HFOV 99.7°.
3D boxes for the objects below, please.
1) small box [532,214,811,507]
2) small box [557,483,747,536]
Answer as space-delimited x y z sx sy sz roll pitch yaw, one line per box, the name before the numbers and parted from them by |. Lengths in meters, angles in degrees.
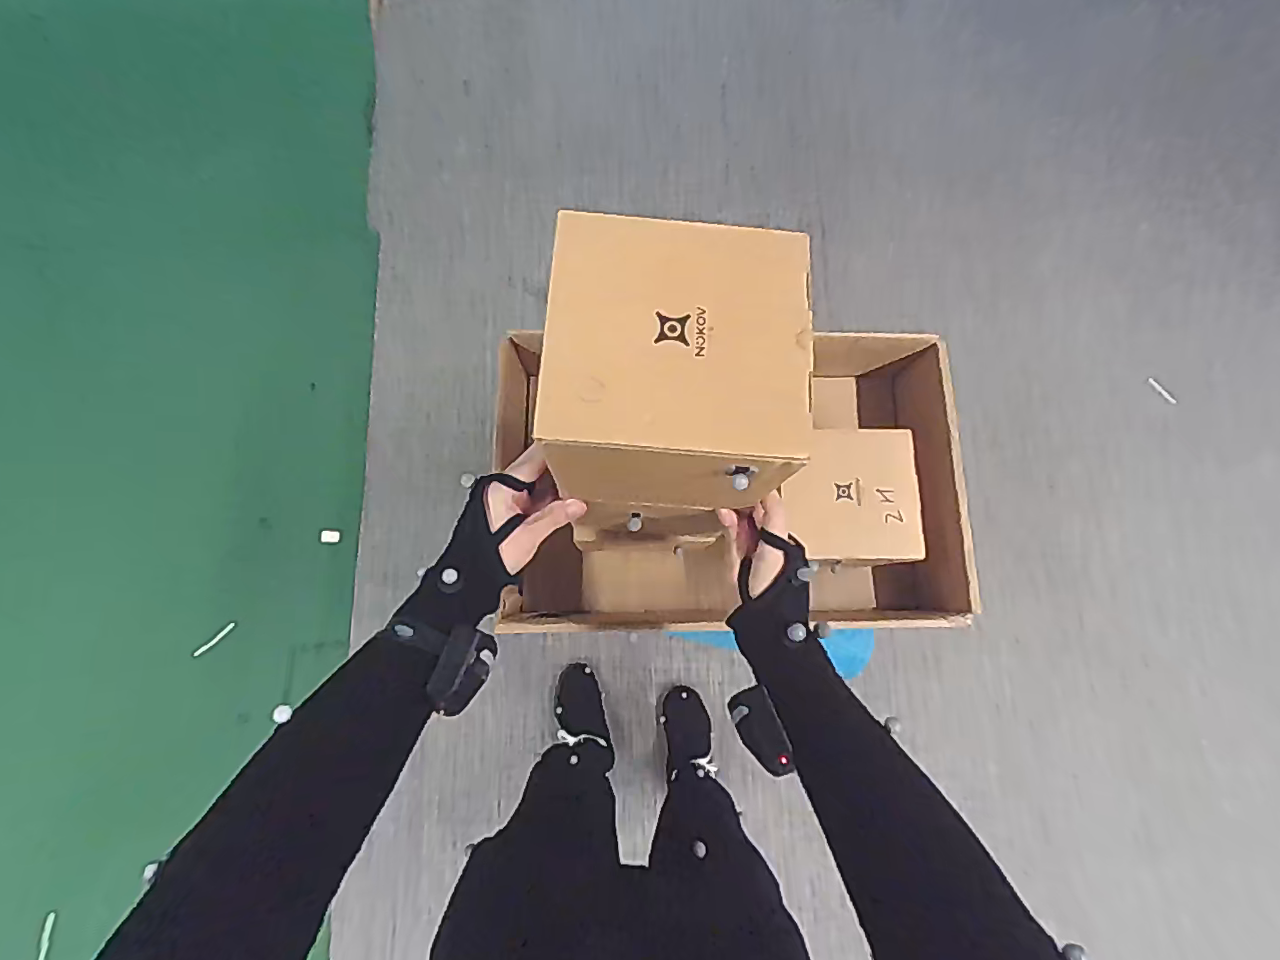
small box | 0.020 -0.077 0.428 0.179 0.176 0.168 4 76 -3
small box | 0.015 -0.035 0.585 0.179 0.176 0.168 4 76 -1
